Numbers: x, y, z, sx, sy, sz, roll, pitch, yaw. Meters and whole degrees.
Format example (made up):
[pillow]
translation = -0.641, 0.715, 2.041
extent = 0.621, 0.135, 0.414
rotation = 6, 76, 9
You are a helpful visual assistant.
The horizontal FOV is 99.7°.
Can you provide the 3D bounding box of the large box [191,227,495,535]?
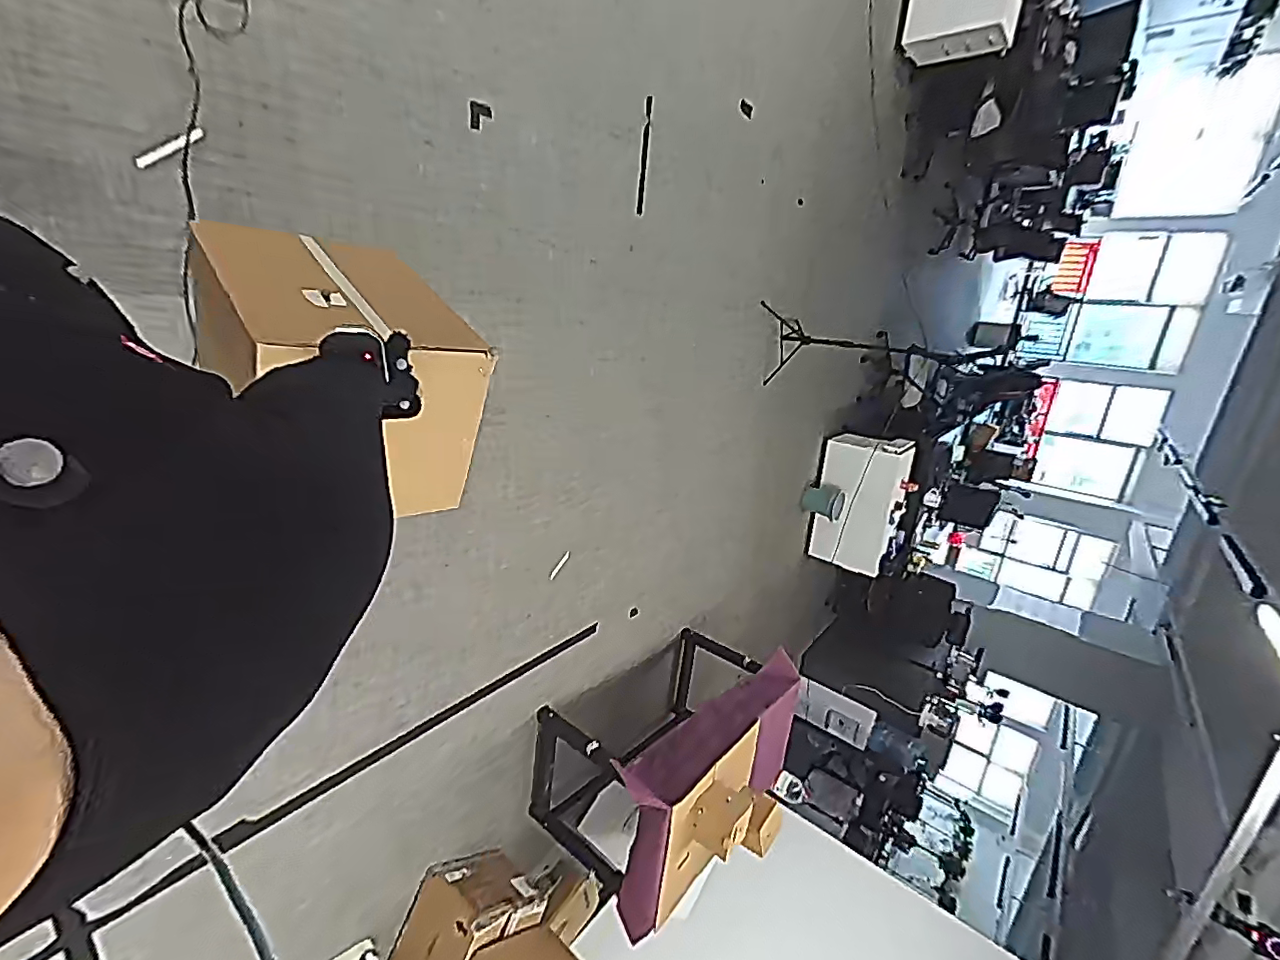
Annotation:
[large box]
translation = -0.512, -0.172, 0.913
extent = 0.320, 0.408, 0.320
rotation = -12, 136, -45
